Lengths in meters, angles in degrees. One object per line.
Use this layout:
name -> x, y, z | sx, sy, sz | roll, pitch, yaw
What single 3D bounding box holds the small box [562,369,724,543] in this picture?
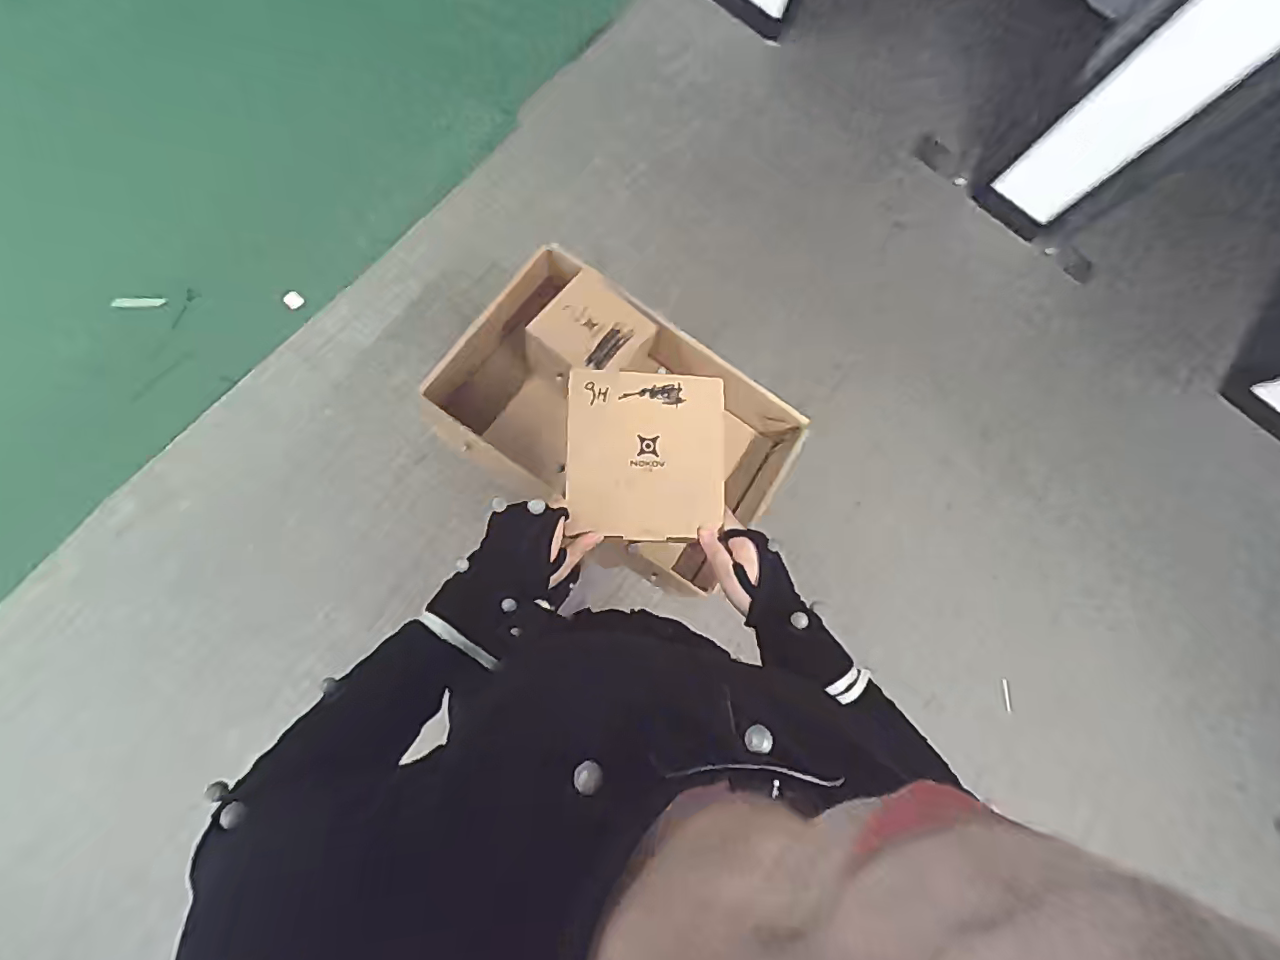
small box -> -0.005, -0.018, 0.635 | 0.168, 0.176, 0.179 | 2, 84, -9
